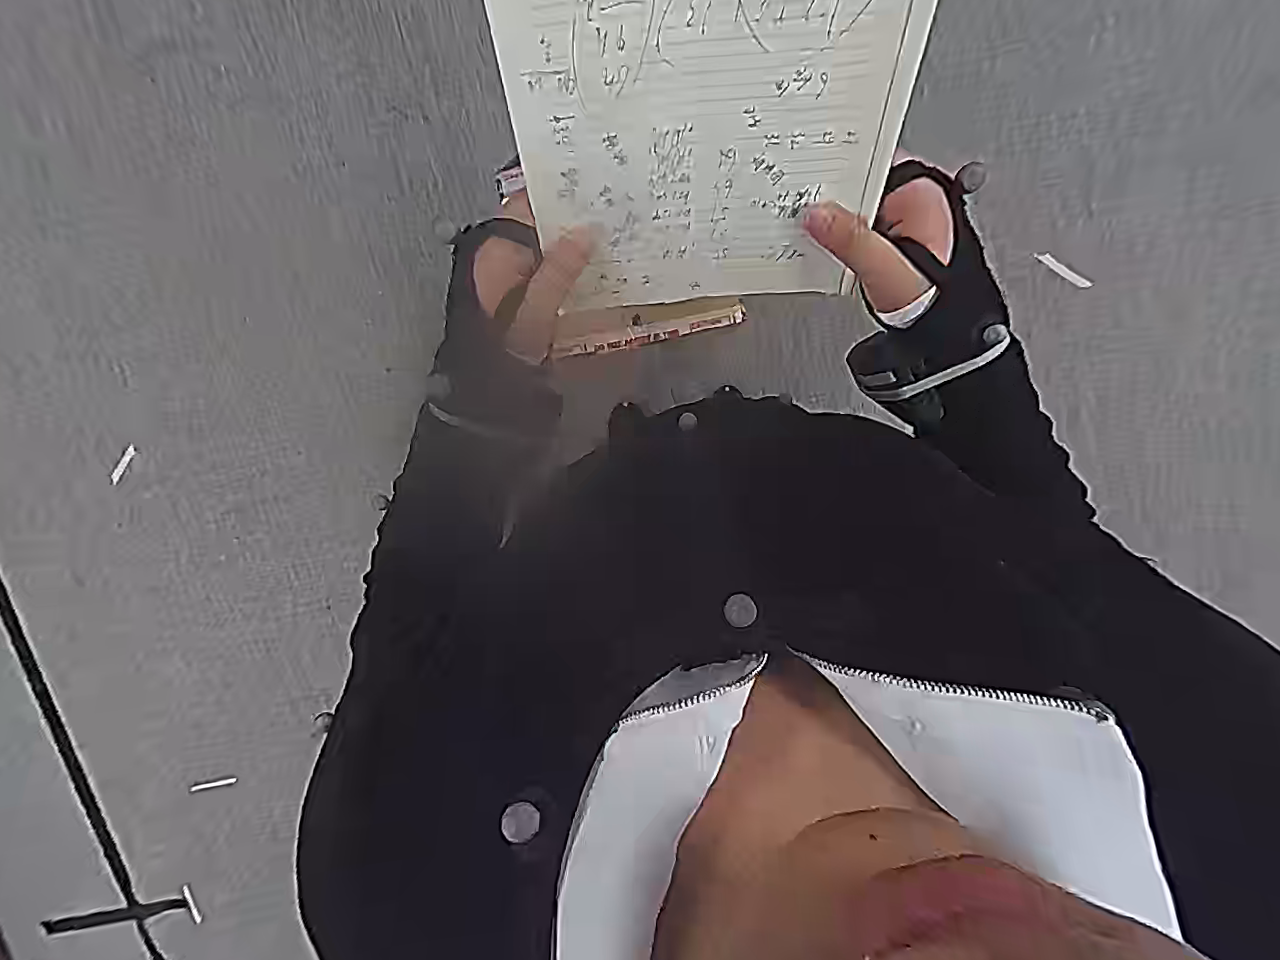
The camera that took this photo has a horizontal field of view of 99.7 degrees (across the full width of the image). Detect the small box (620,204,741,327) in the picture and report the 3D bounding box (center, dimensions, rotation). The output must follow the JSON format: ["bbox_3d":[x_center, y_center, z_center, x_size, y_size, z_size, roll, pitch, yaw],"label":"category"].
[{"bbox_3d":[0.072,-0.357,0.877,0.179,0.176,0.168,-15,99,3],"label":"small box"}]

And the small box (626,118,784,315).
[{"bbox_3d":[0.076,-0.331,0.715,0.168,0.176,0.179,-12,100,2],"label":"small box"}]
